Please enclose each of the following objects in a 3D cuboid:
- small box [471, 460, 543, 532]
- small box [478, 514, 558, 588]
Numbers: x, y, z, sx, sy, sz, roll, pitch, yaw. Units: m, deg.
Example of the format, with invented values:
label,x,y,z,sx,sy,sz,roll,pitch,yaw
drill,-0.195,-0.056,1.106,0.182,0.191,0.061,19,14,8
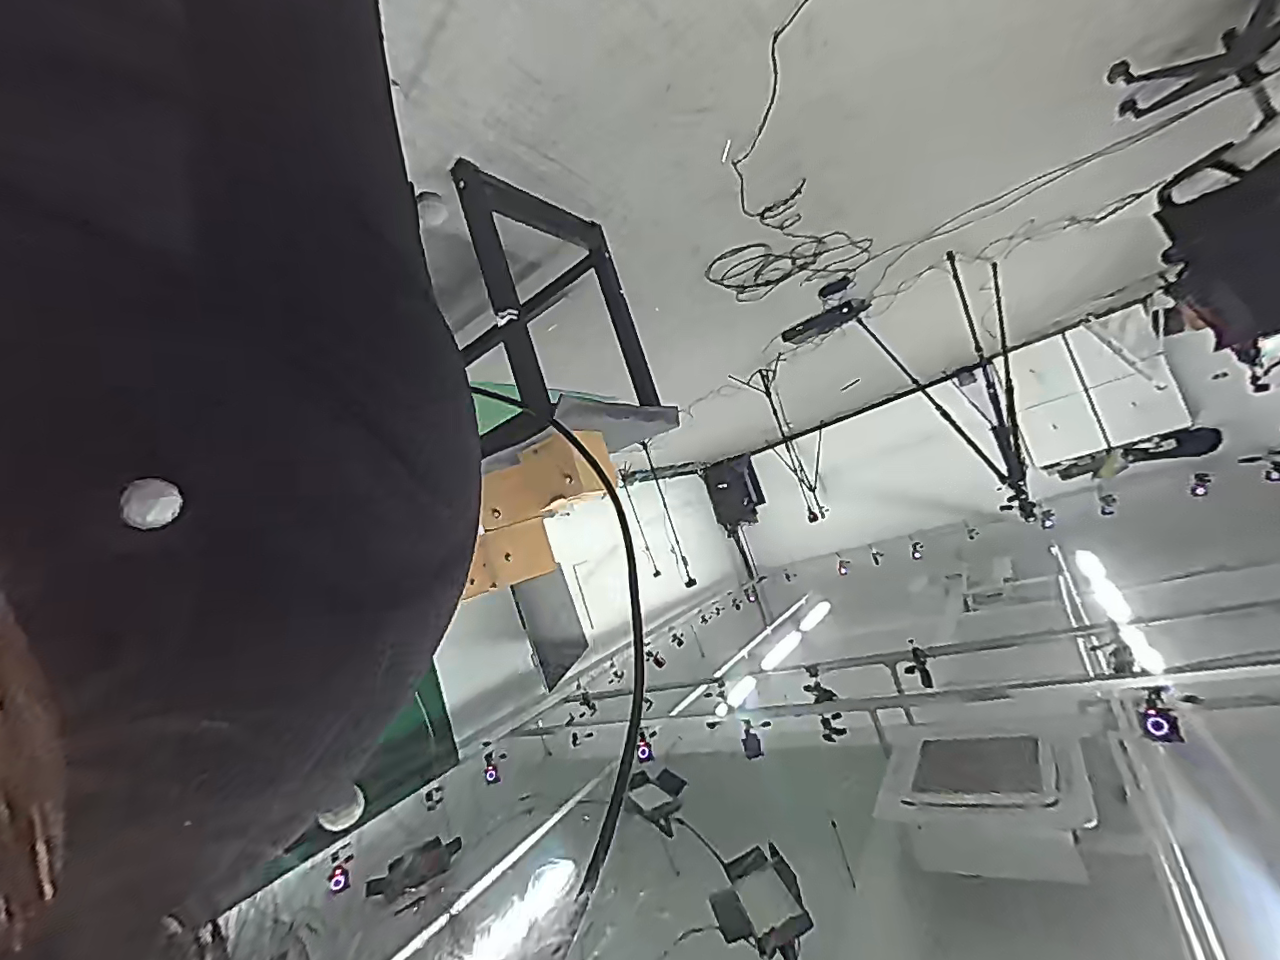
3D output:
label,x,y,z,sx,sy,sz,roll,pitch,yaw
small box,-0.405,0.053,1.634,0.179,0.176,0.168,-17,175,-16
small box,-0.371,0.212,1.621,0.179,0.176,0.168,-16,175,-28
